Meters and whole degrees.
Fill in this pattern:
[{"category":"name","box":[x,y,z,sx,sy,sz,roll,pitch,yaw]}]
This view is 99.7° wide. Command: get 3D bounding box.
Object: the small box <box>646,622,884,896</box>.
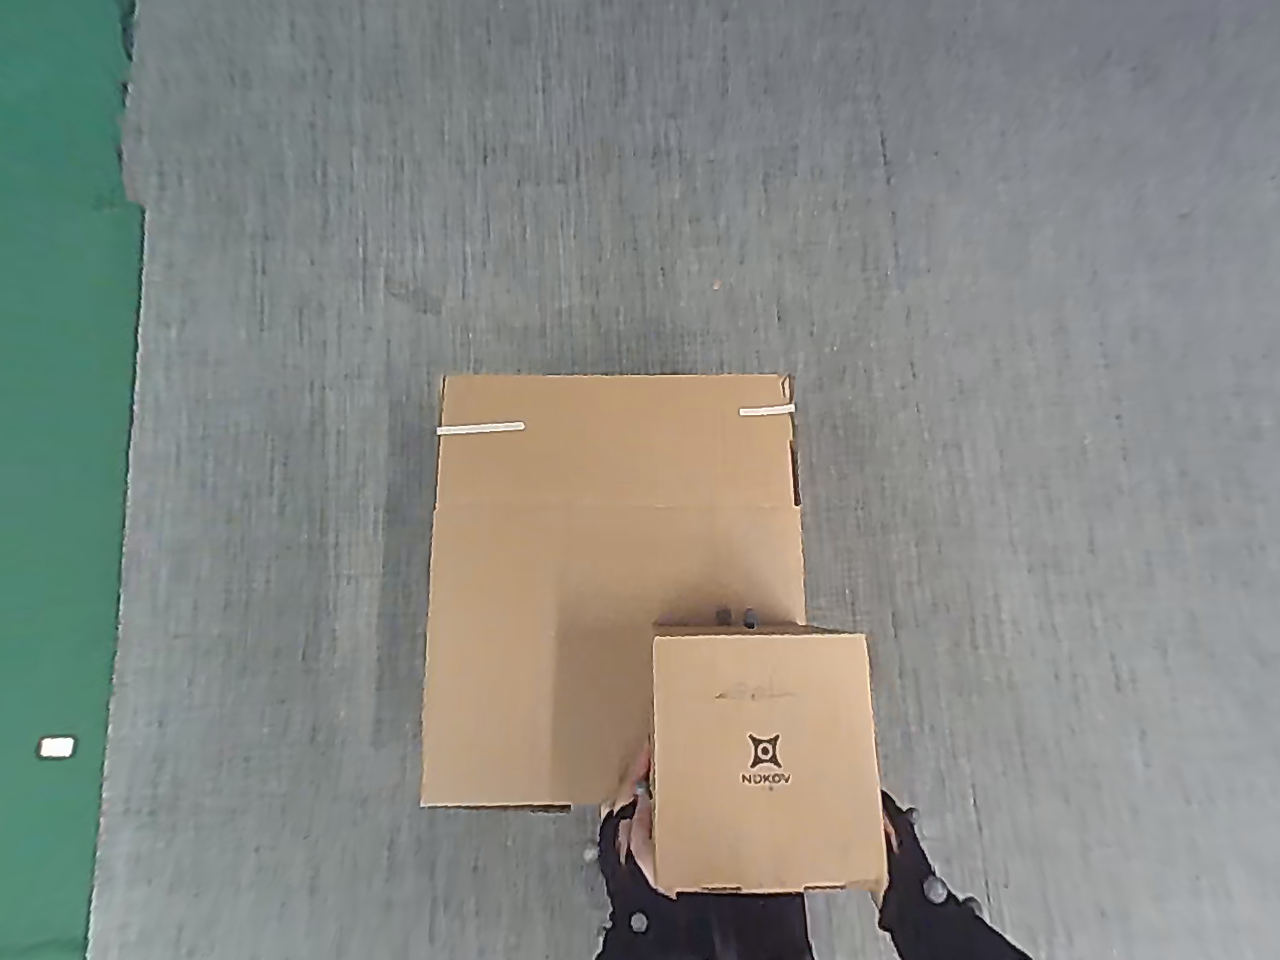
[{"category":"small box","box":[0.090,0.220,0.472,0.168,0.176,0.179,0,78,0]}]
